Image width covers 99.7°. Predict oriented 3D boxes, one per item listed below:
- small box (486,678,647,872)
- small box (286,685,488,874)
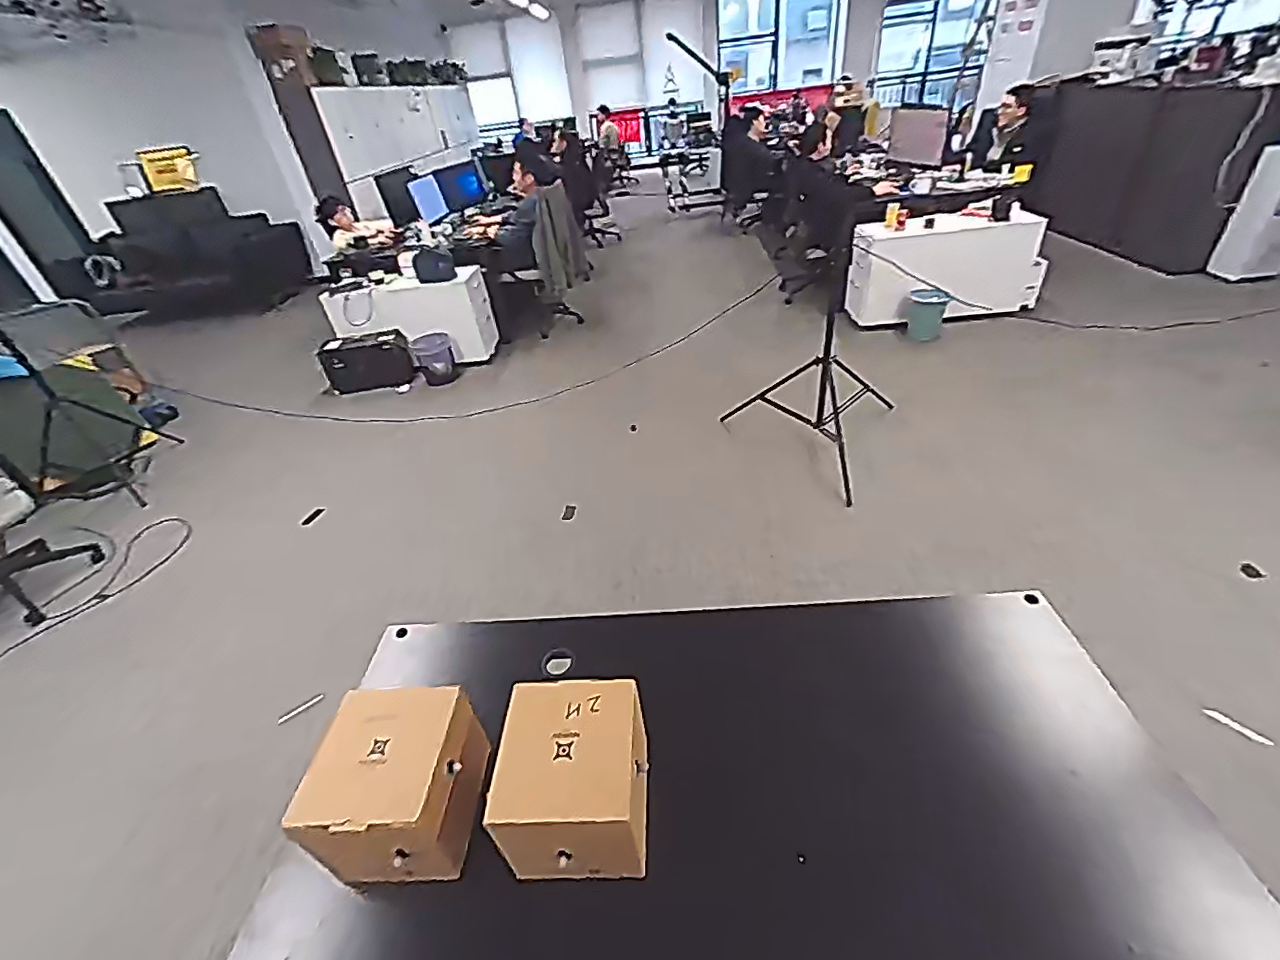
[{"bbox_3d":[-0.080,0.385,0.704,0.168,0.176,0.179,-4,36,5],"label":"small box"},{"bbox_3d":[-0.318,0.404,0.727,0.168,0.176,0.179,-4,35,3],"label":"small box"}]
